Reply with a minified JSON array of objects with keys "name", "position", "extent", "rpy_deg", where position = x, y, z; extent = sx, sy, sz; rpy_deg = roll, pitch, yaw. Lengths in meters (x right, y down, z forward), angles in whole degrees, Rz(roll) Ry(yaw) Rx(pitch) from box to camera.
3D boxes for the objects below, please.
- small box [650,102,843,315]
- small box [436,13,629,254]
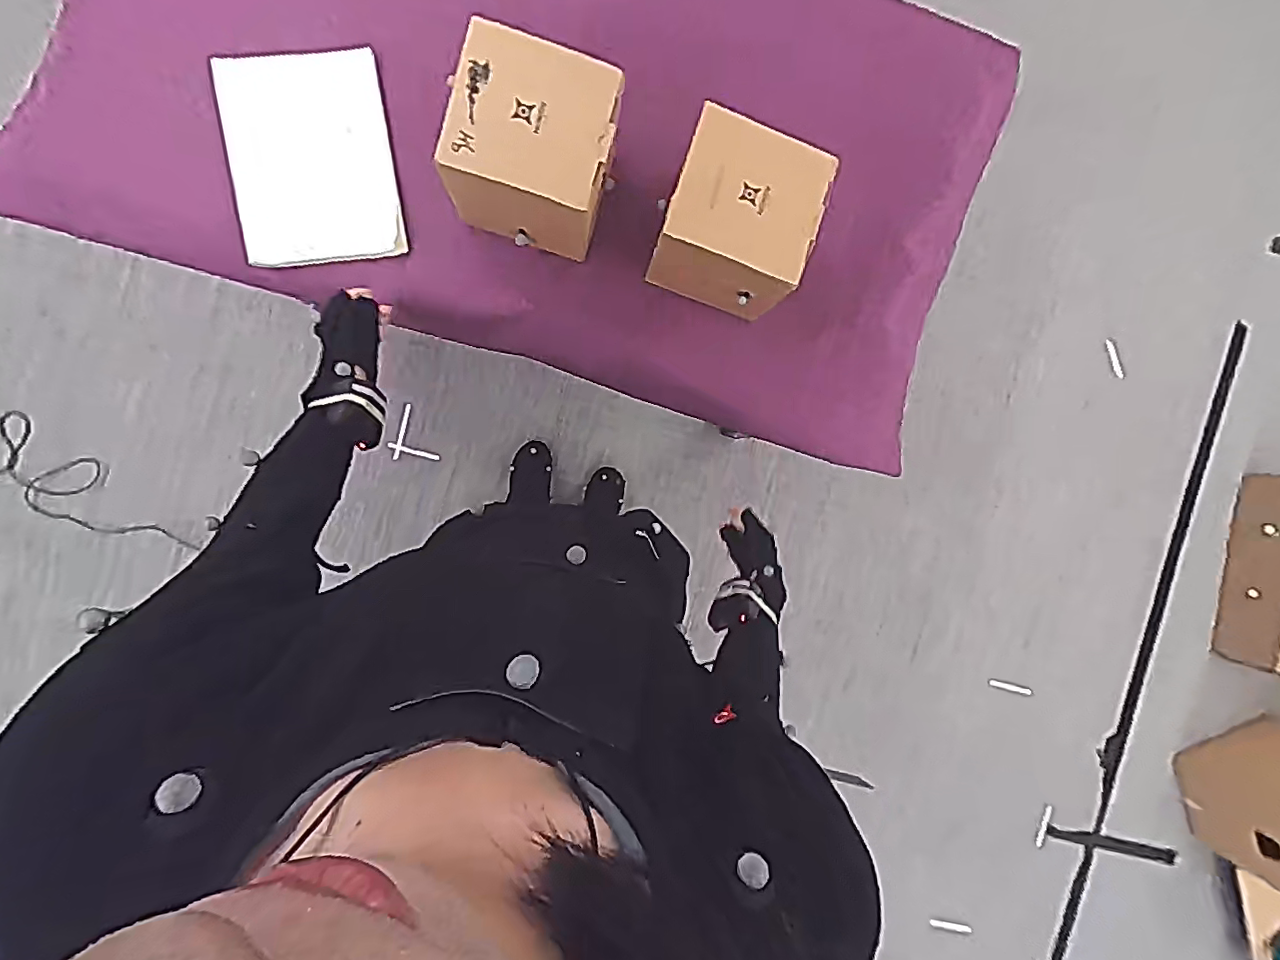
[{"name":"small box","position":[0.126,-0.334,0.709],"extent":[0.179,0.176,0.168],"rpy_deg":[19,88,-6]},{"name":"small box","position":[-0.128,-0.406,0.672],"extent":[0.179,0.176,0.168],"rpy_deg":[16,90,-8]}]
